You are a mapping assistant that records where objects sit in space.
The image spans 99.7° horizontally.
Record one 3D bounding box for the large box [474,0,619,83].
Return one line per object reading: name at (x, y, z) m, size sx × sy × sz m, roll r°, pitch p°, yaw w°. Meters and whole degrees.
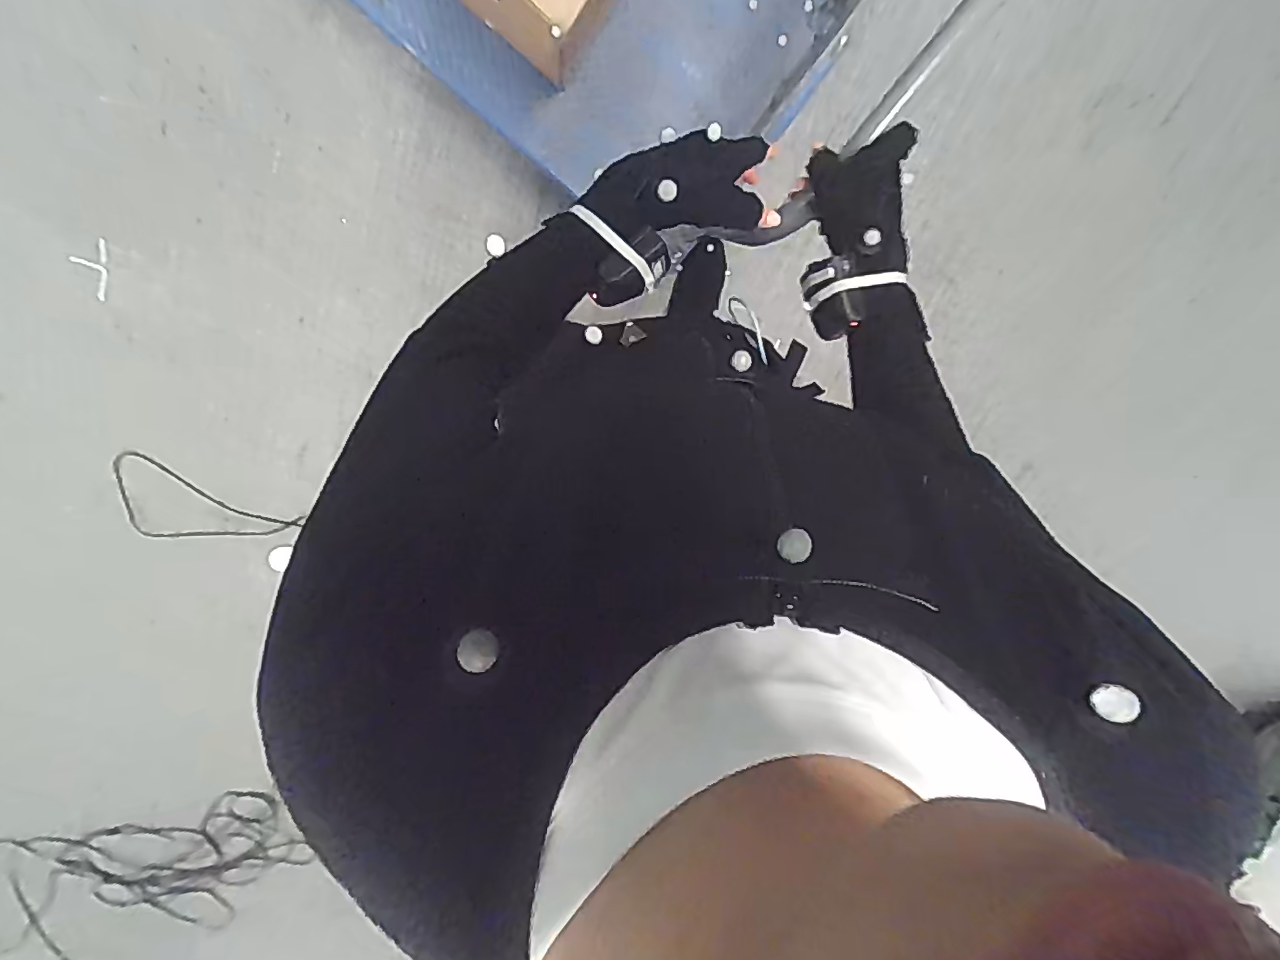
large box at (-0.117, -0.903, 0.776) m, size 0.320 × 0.320 × 0.408 m, roll 33°, pitch 106°, yaw -19°
